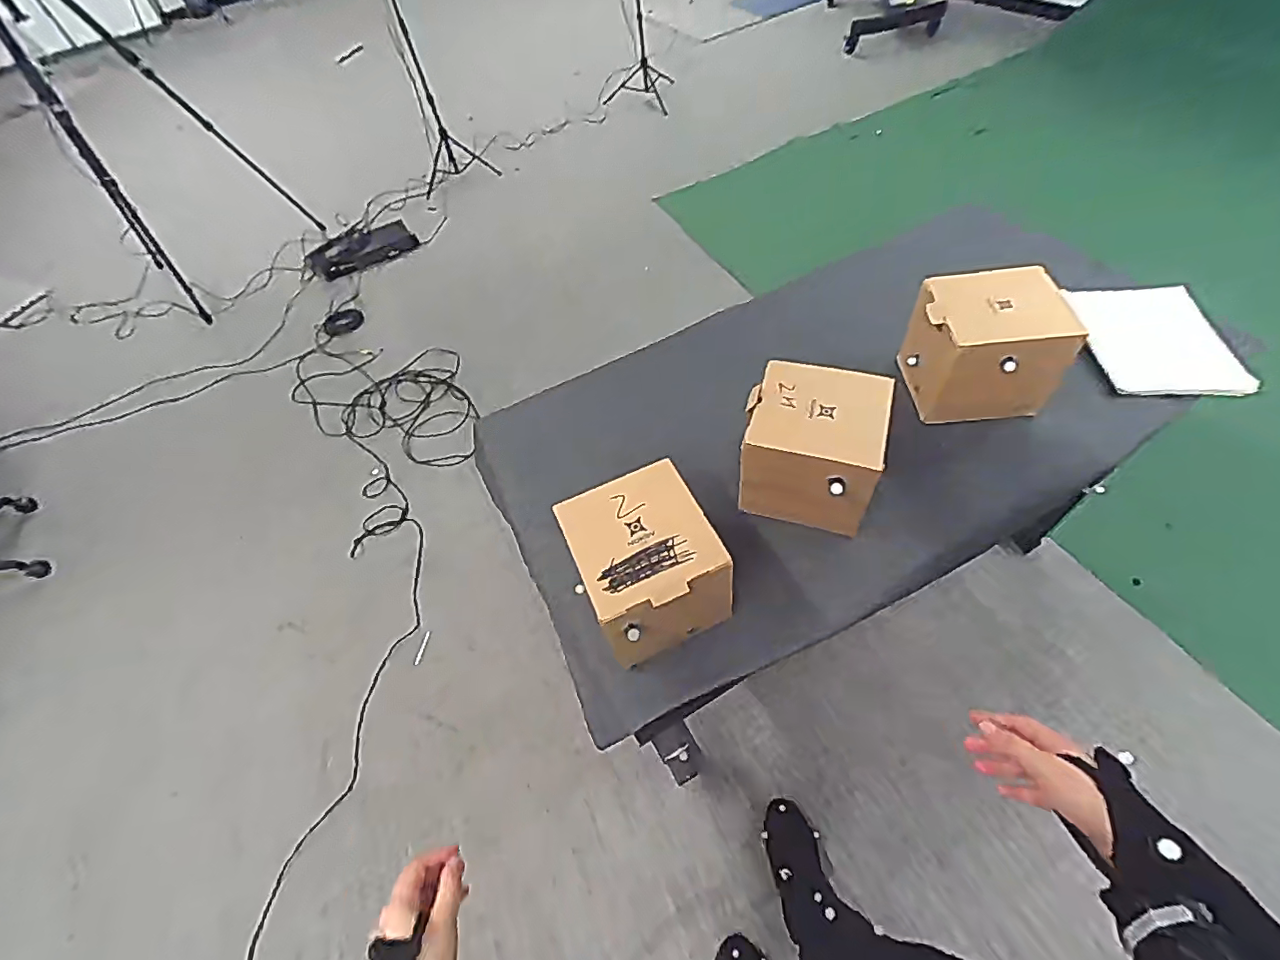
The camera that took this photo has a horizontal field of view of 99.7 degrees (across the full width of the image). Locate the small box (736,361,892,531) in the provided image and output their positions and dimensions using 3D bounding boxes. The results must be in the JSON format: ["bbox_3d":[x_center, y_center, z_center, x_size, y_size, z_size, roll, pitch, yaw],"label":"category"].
[{"bbox_3d":[0.246,-0.045,0.789,0.179,0.176,0.168,13,57,17],"label":"small box"}]

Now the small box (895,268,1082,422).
[{"bbox_3d":[0.538,-0.211,0.866,0.179,0.176,0.168,-4,54,6],"label":"small box"}]
